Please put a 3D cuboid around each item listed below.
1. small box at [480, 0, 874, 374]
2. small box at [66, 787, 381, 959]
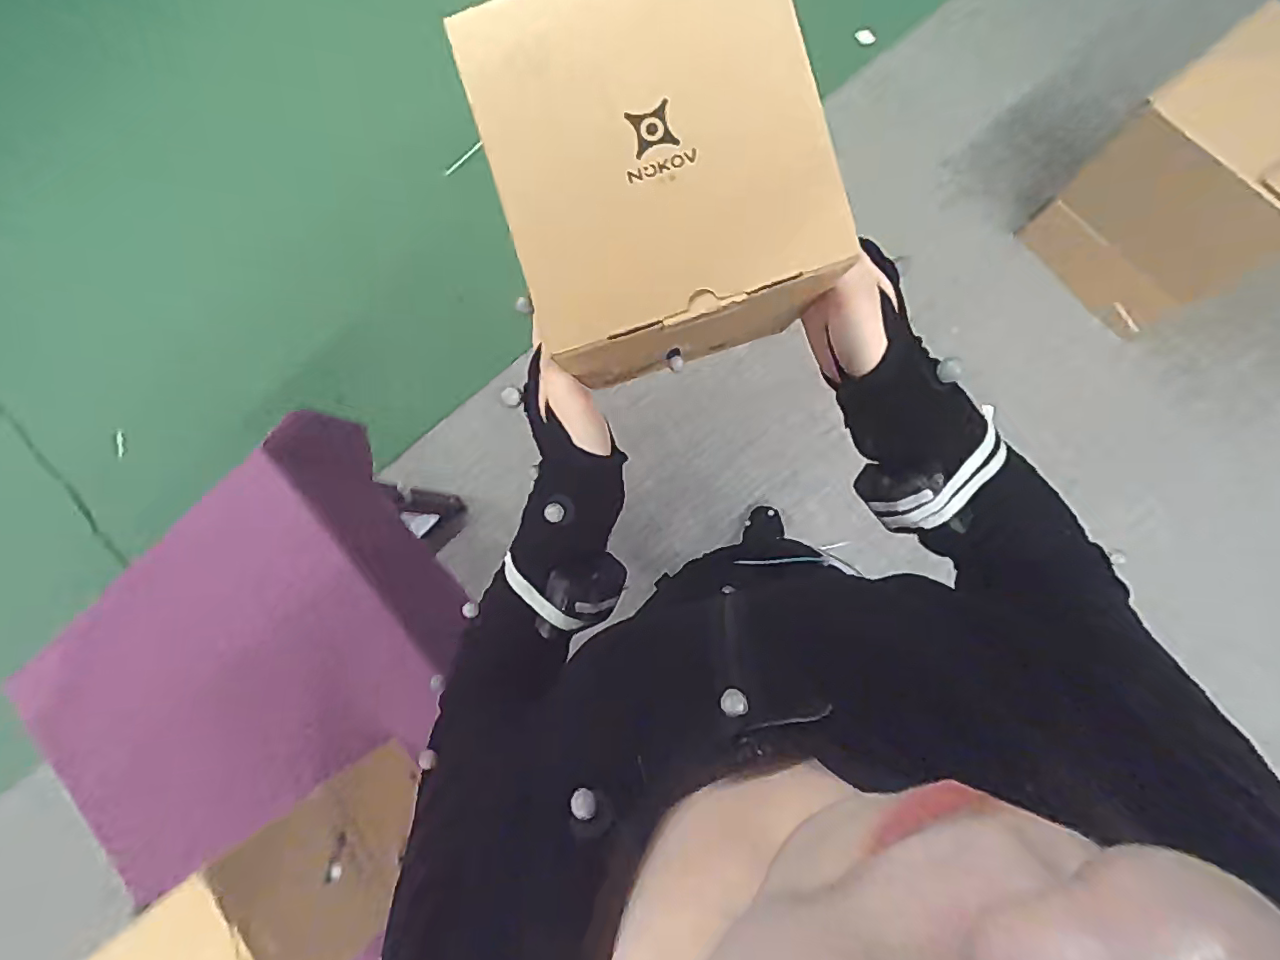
[{"bbox_3d":[0.020,-0.179,0.349,0.168,0.176,0.179,-15,95,3],"label":"small box"},{"bbox_3d":[-0.421,0.474,0.570,0.179,0.176,0.168,-38,82,2],"label":"small box"}]
